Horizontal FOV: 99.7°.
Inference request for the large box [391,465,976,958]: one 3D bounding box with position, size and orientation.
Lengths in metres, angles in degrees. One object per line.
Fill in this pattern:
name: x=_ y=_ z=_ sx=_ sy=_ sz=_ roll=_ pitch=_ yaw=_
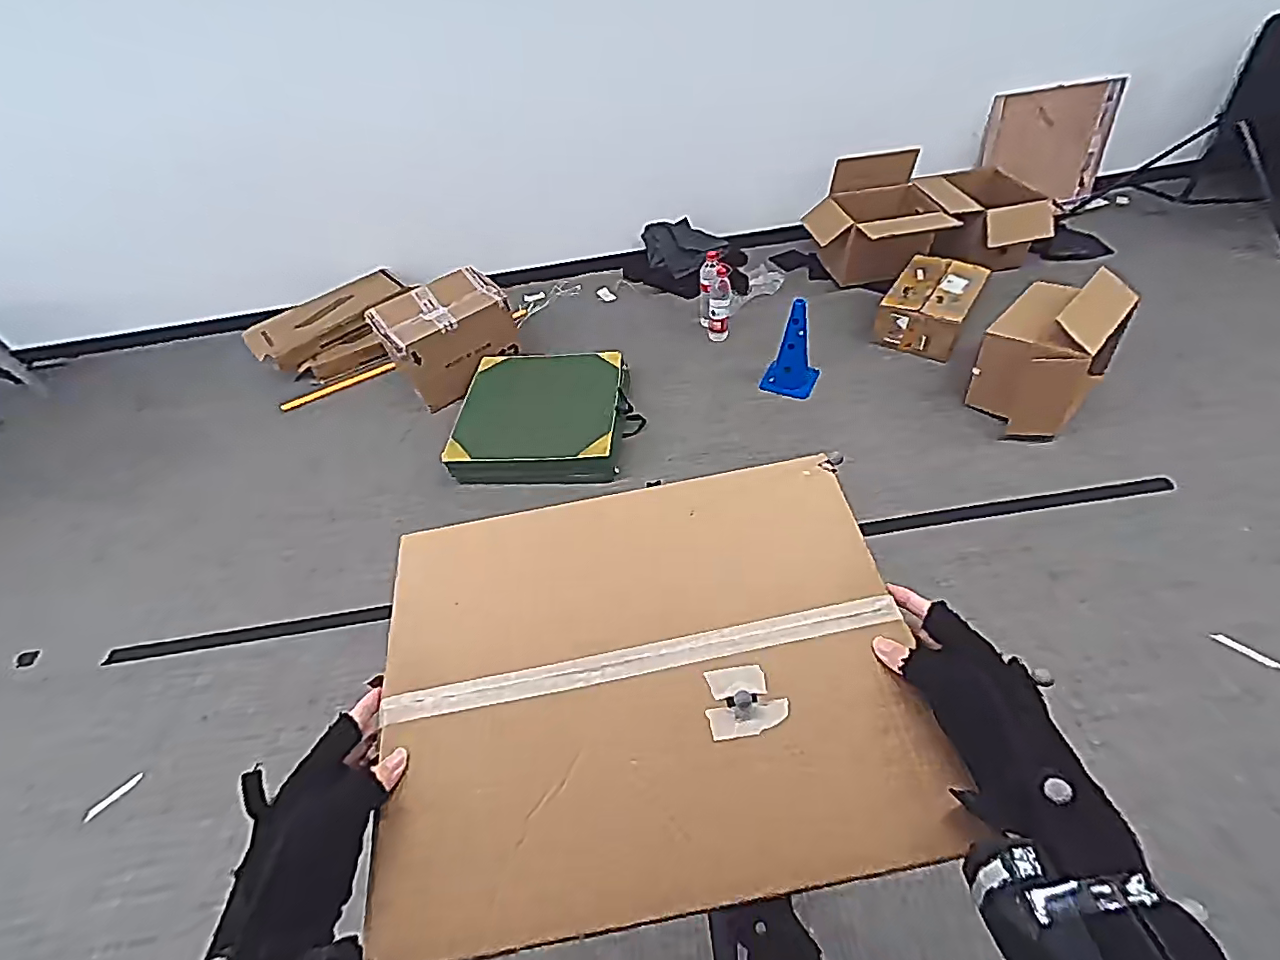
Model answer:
large box: x=0.018 y=0.231 z=0.559 sx=0.408 sy=0.320 sz=0.320 roll=-11 pitch=56 yaw=-1
